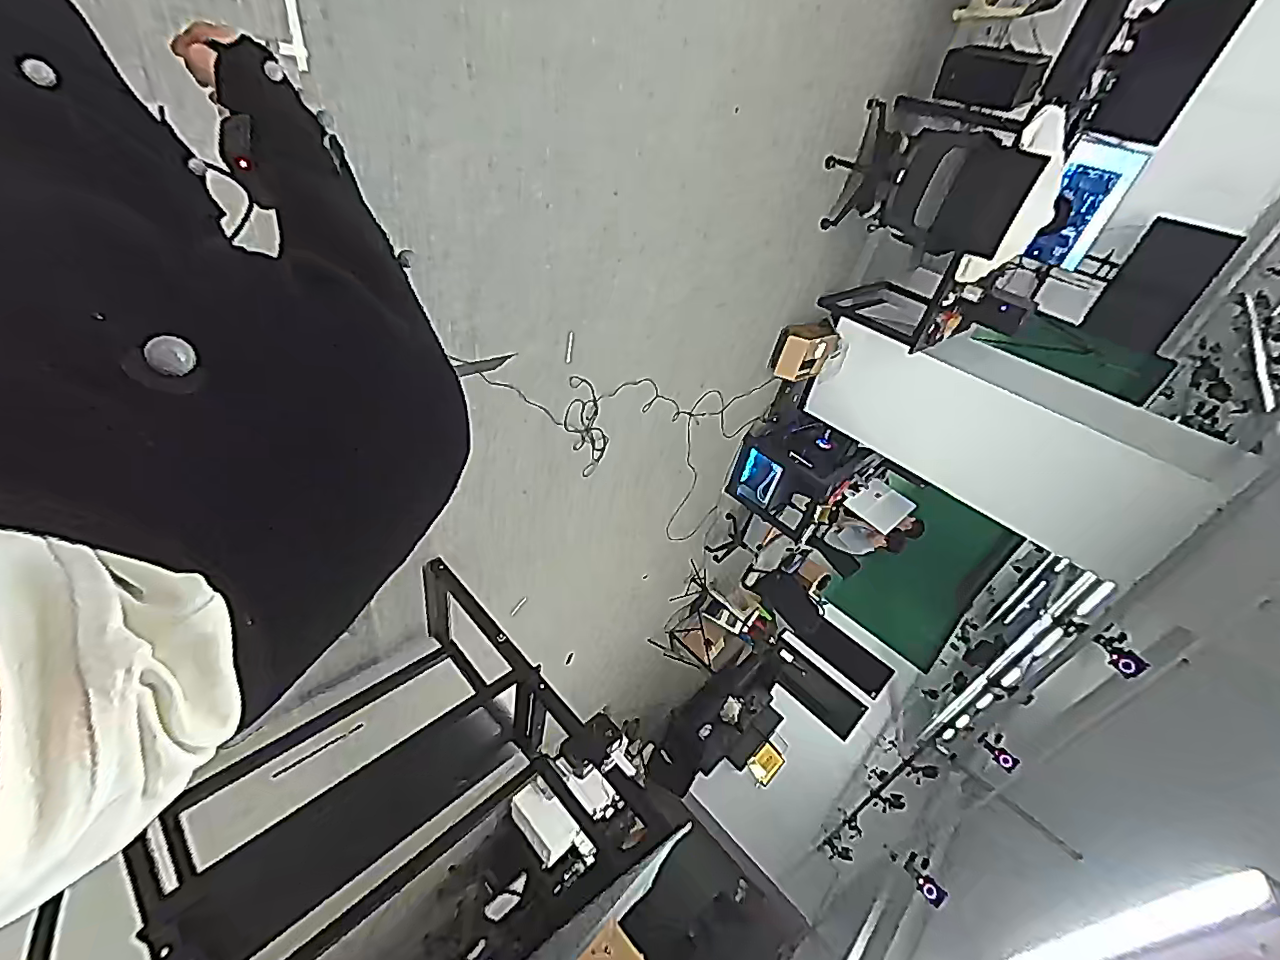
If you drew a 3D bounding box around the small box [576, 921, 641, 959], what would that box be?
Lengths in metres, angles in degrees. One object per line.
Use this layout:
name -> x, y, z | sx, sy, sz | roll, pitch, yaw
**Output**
small box -> -0.102, 1.560, 1.719 | 0.168, 0.176, 0.179 | -27, 141, -39
